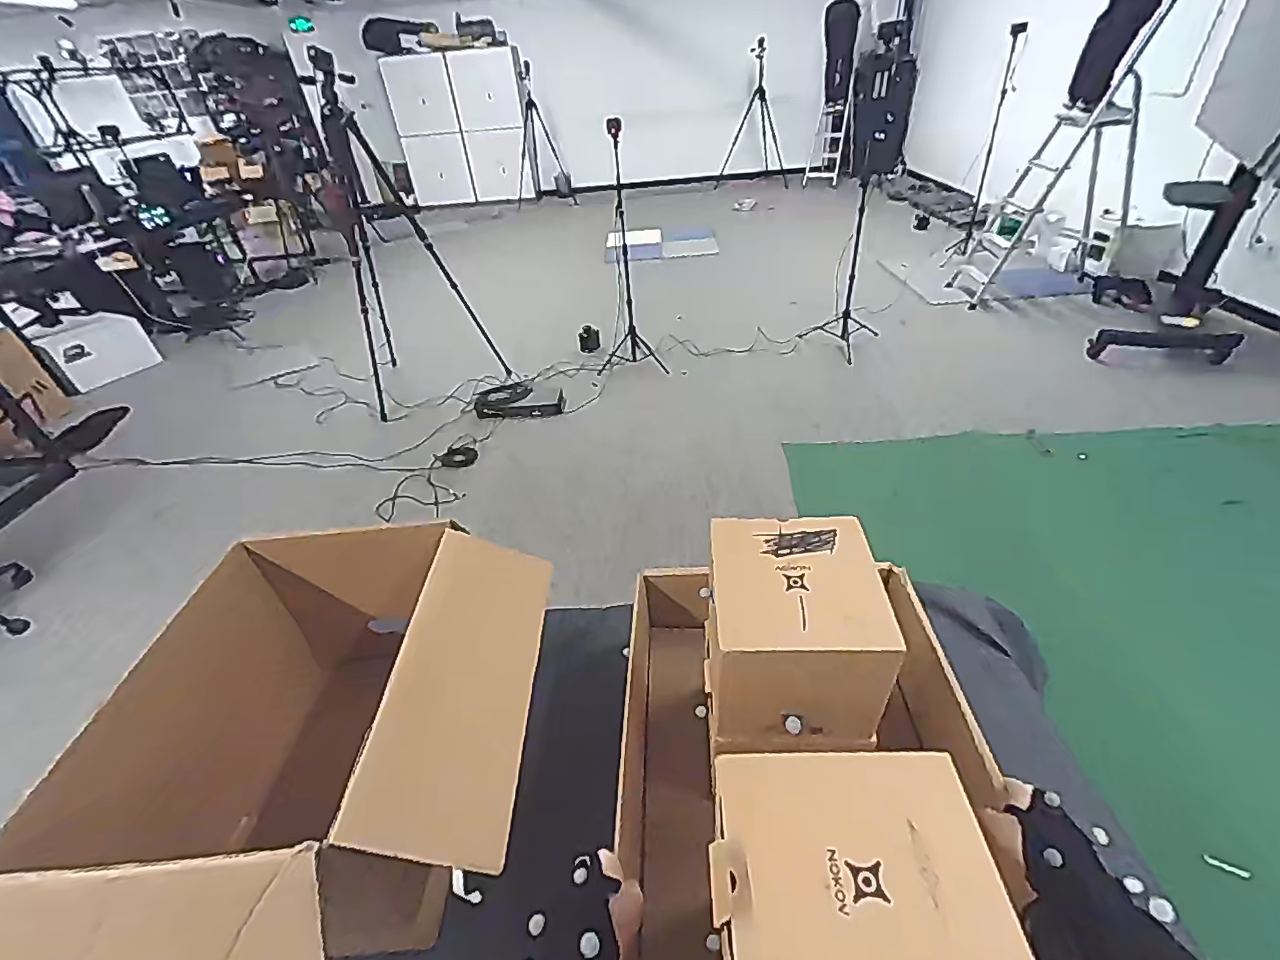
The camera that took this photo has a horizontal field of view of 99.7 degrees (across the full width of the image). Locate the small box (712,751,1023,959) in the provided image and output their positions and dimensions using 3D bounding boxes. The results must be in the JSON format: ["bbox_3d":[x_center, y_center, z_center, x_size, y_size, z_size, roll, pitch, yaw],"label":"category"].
[{"bbox_3d":[0.147,0.324,0.404,0.179,0.176,0.168,-2,39,3],"label":"small box"}]

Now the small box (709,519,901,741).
[{"bbox_3d":[0.162,0.163,0.603,0.168,0.176,0.179,-1,41,5],"label":"small box"}]
